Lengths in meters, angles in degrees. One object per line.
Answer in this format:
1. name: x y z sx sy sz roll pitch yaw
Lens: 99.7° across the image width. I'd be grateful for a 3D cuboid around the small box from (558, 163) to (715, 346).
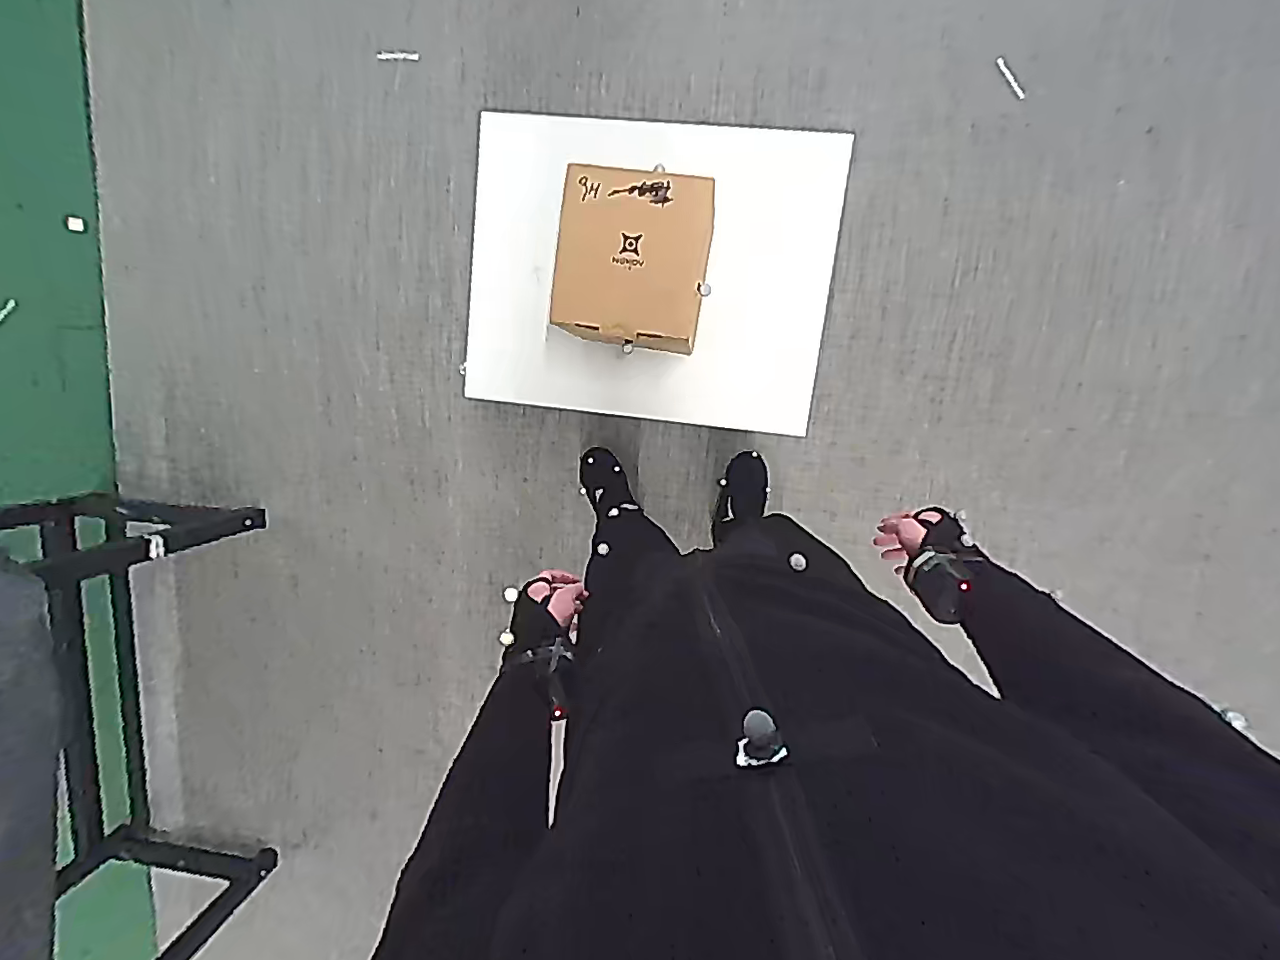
1. small box: 0.004 -0.273 0.693 0.168 0.176 0.179 8 98 7
